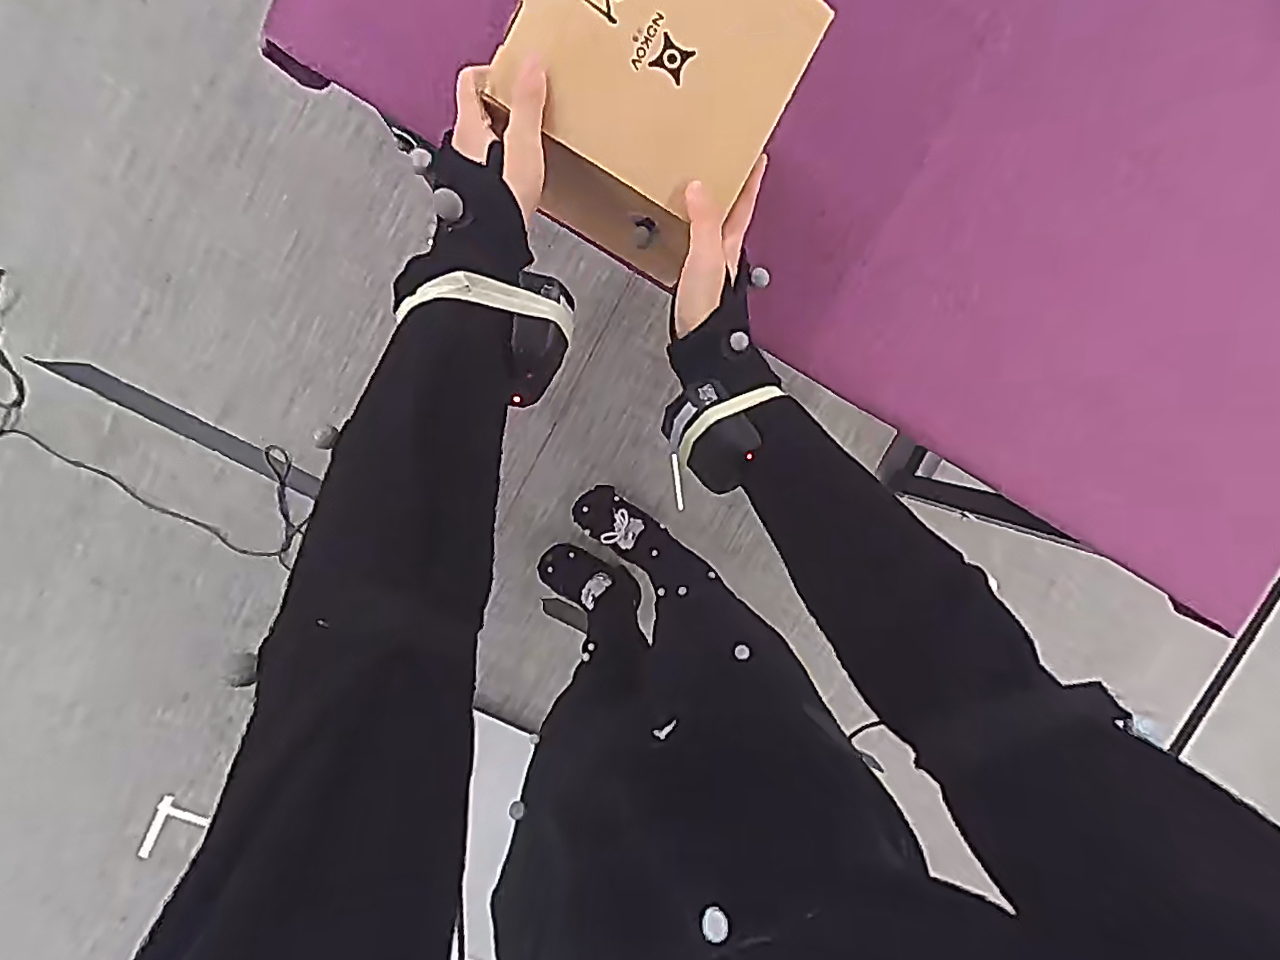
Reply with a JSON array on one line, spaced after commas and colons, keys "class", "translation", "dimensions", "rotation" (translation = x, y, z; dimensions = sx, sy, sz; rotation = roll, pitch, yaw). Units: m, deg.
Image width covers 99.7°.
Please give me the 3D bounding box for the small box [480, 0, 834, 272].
[{"class": "small box", "translation": [0.005, -0.283, 0.418], "dimensions": [0.179, 0.176, 0.168], "rotation": [27, 94, -10]}]
